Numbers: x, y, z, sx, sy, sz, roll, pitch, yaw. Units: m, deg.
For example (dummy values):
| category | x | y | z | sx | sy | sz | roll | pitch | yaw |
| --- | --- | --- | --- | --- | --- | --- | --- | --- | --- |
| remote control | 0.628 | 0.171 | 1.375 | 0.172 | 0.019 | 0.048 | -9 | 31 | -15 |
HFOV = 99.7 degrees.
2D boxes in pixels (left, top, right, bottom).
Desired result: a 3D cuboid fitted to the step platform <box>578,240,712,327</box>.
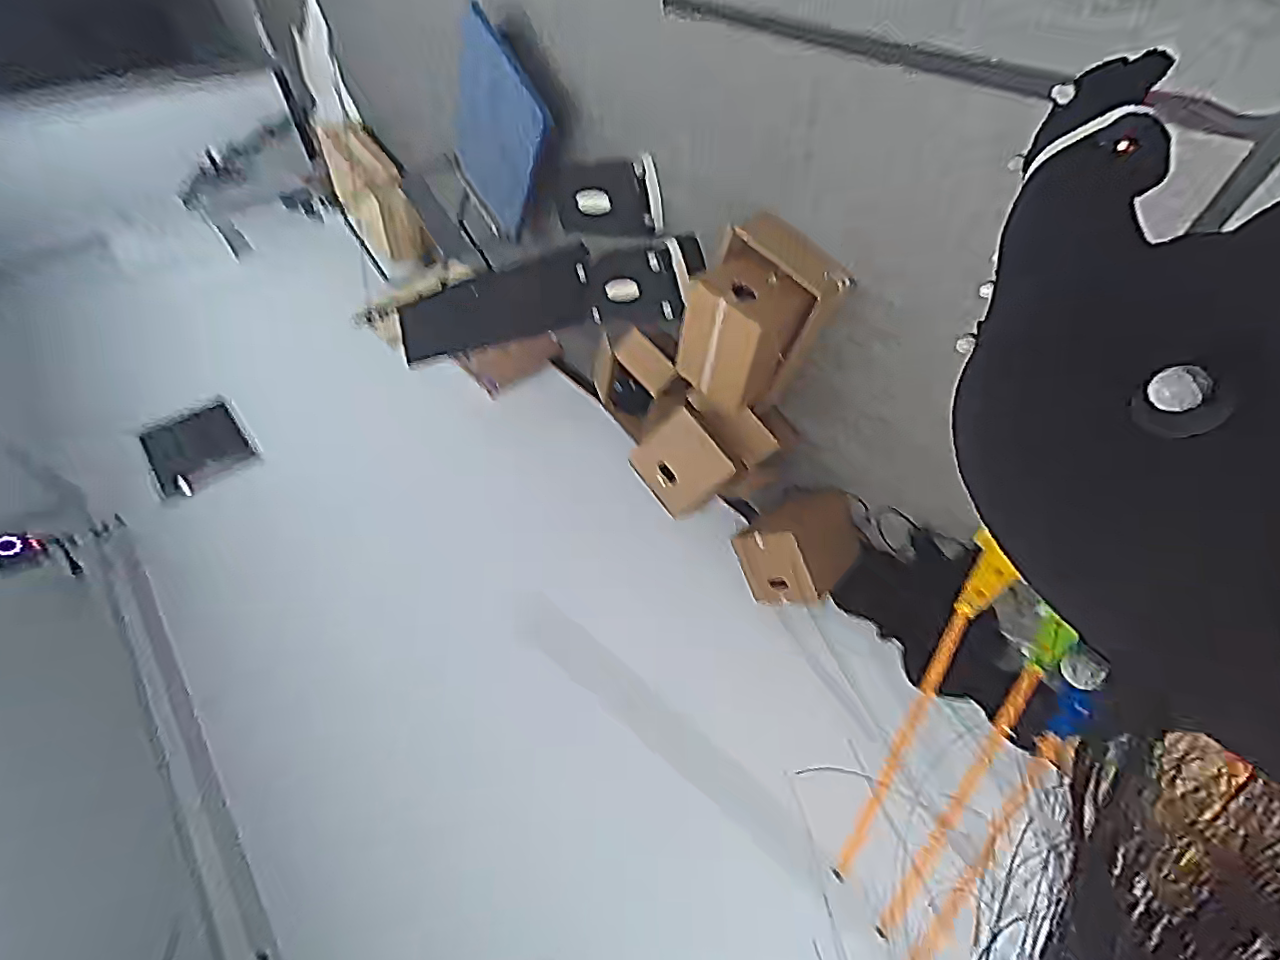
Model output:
| category | x | y | z | sx | sy | sz | roll | pitch | yaw |
| --- | --- | --- | --- | --- | --- | --- | --- | --- | --- |
| step platform | -0.004 | -0.845 | 2.388 | 0.684 | 0.204 | 0.286 | 17 | 135 | 51 |
